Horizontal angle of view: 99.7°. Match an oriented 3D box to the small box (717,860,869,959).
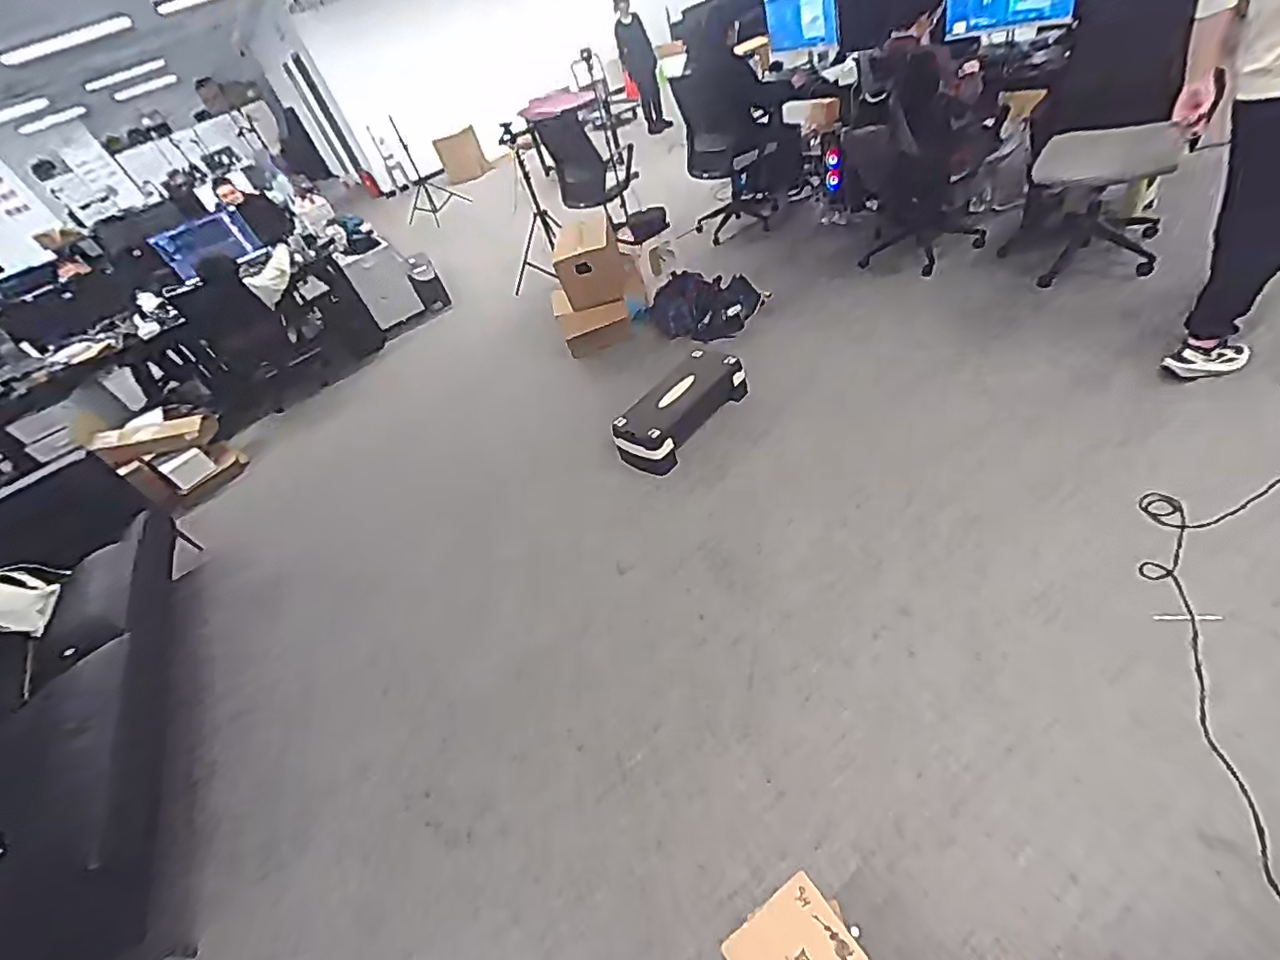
[{"bbox_3d":[0.252,0.757,0.858,0.179,0.176,0.168,-35,44,-11],"label":"small box"}]
